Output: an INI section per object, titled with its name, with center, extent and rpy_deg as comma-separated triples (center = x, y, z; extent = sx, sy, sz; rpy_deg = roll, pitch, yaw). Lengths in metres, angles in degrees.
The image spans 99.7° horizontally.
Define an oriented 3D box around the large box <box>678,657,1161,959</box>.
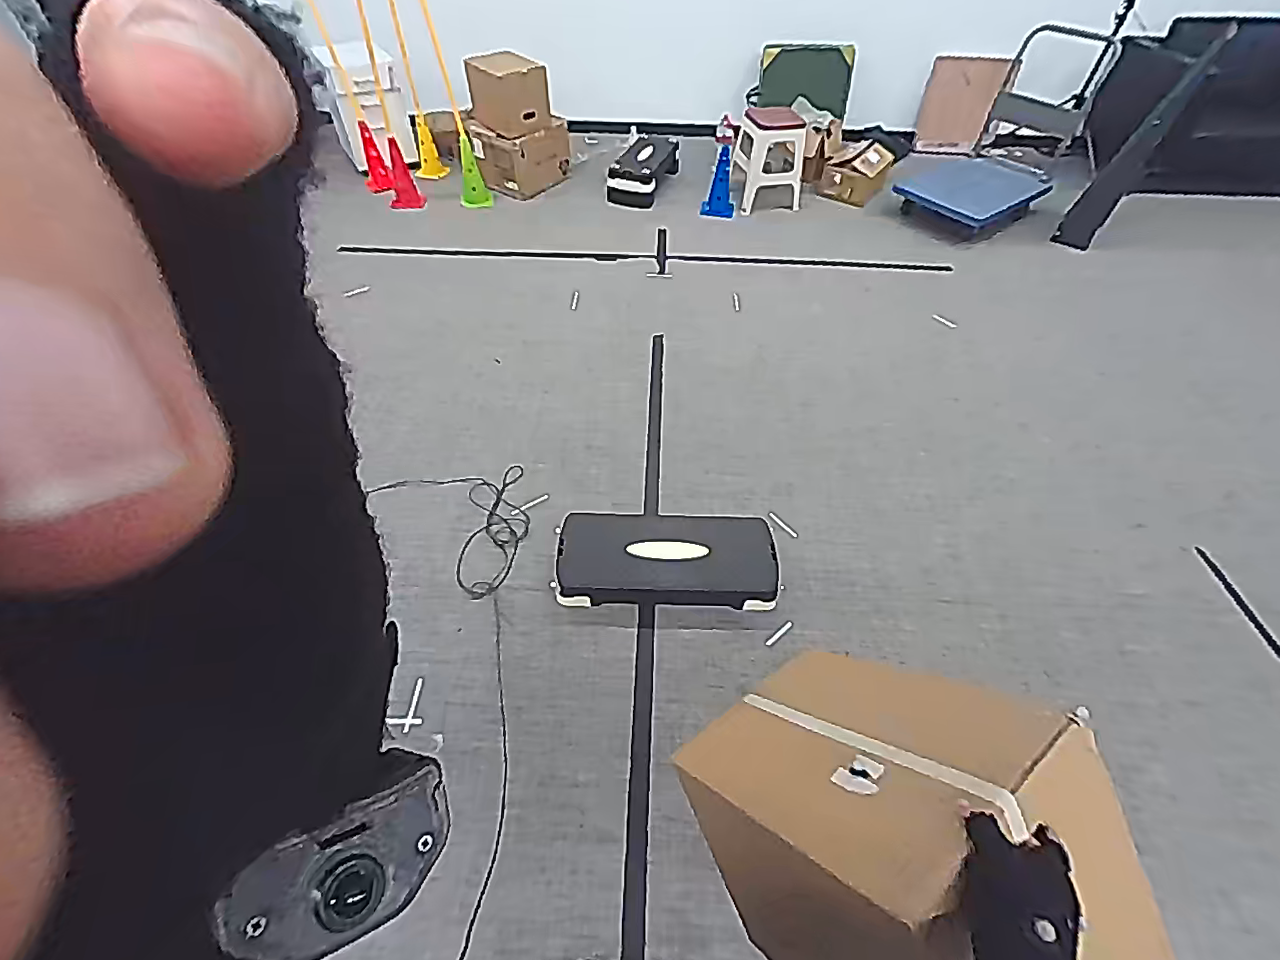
[large box]
center = 0.316, 0.471, 0.694
extent = 0.320, 0.408, 0.320
rpy_deg = -24, 94, -26
